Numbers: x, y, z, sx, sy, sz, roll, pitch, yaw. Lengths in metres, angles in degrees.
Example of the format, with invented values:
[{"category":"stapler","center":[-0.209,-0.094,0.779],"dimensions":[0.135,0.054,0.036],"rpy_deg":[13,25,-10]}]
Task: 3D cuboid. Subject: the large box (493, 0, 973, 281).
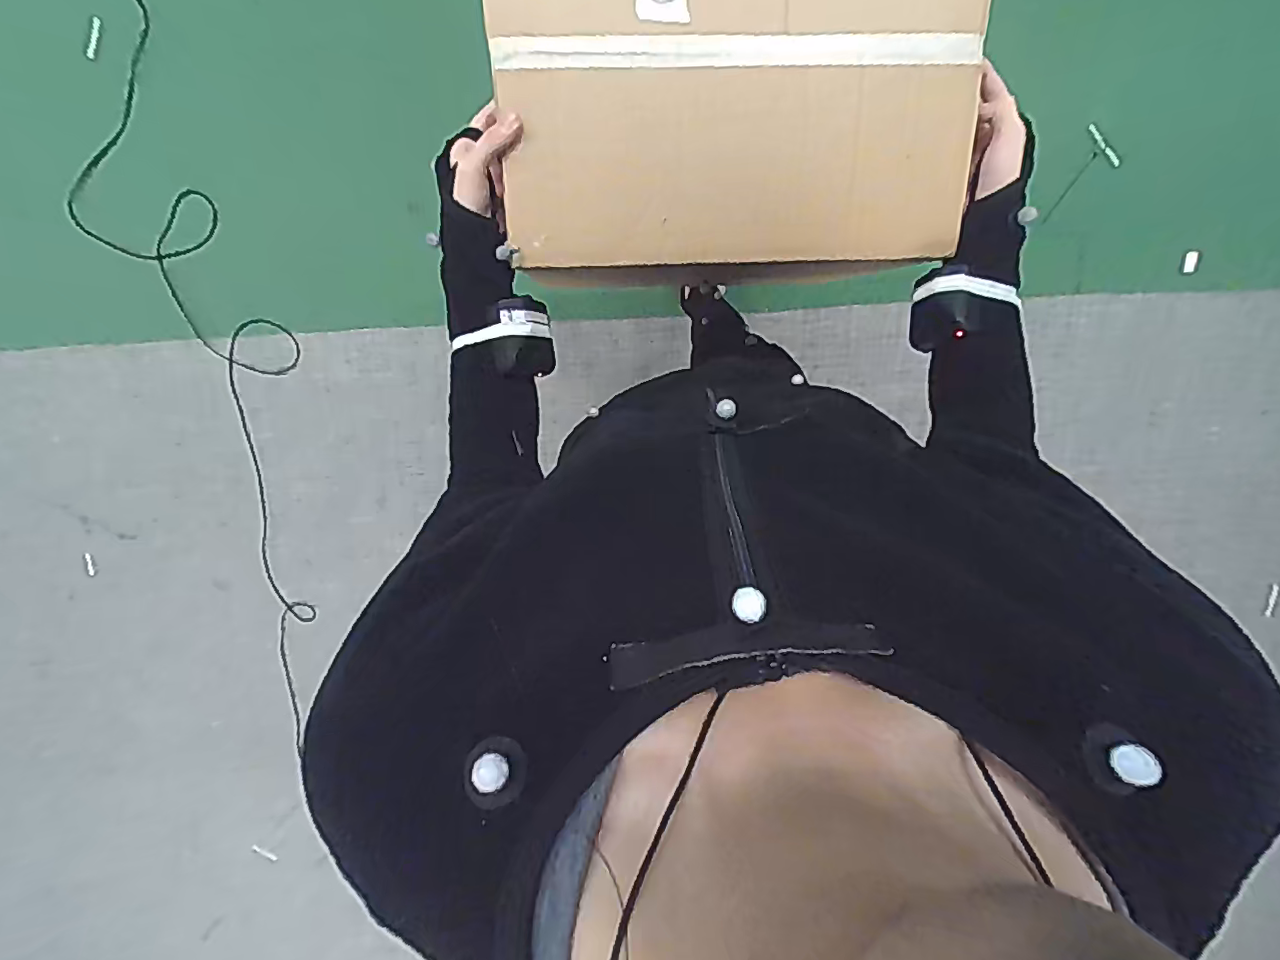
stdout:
[{"category":"large box","center":[0.075,-0.397,0.596],"dimensions":[0.408,0.320,0.320],"rpy_deg":[-3,106,-2]}]
